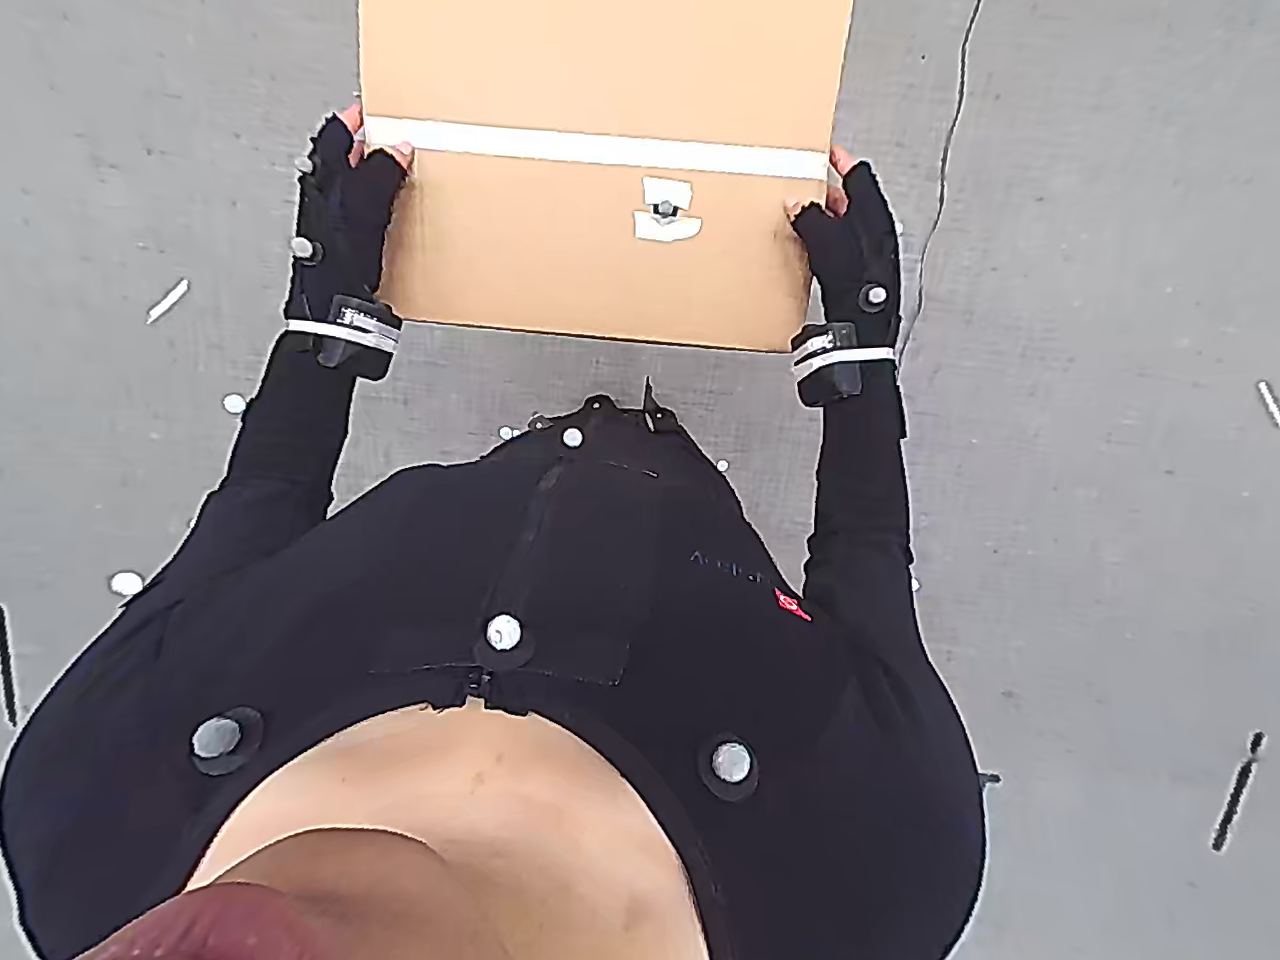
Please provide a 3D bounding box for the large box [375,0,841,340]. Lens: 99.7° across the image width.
[{"bbox_3d":[-0.035,-0.334,0.629,0.408,0.320,0.320,4,105,0],"label":"large box"}]
